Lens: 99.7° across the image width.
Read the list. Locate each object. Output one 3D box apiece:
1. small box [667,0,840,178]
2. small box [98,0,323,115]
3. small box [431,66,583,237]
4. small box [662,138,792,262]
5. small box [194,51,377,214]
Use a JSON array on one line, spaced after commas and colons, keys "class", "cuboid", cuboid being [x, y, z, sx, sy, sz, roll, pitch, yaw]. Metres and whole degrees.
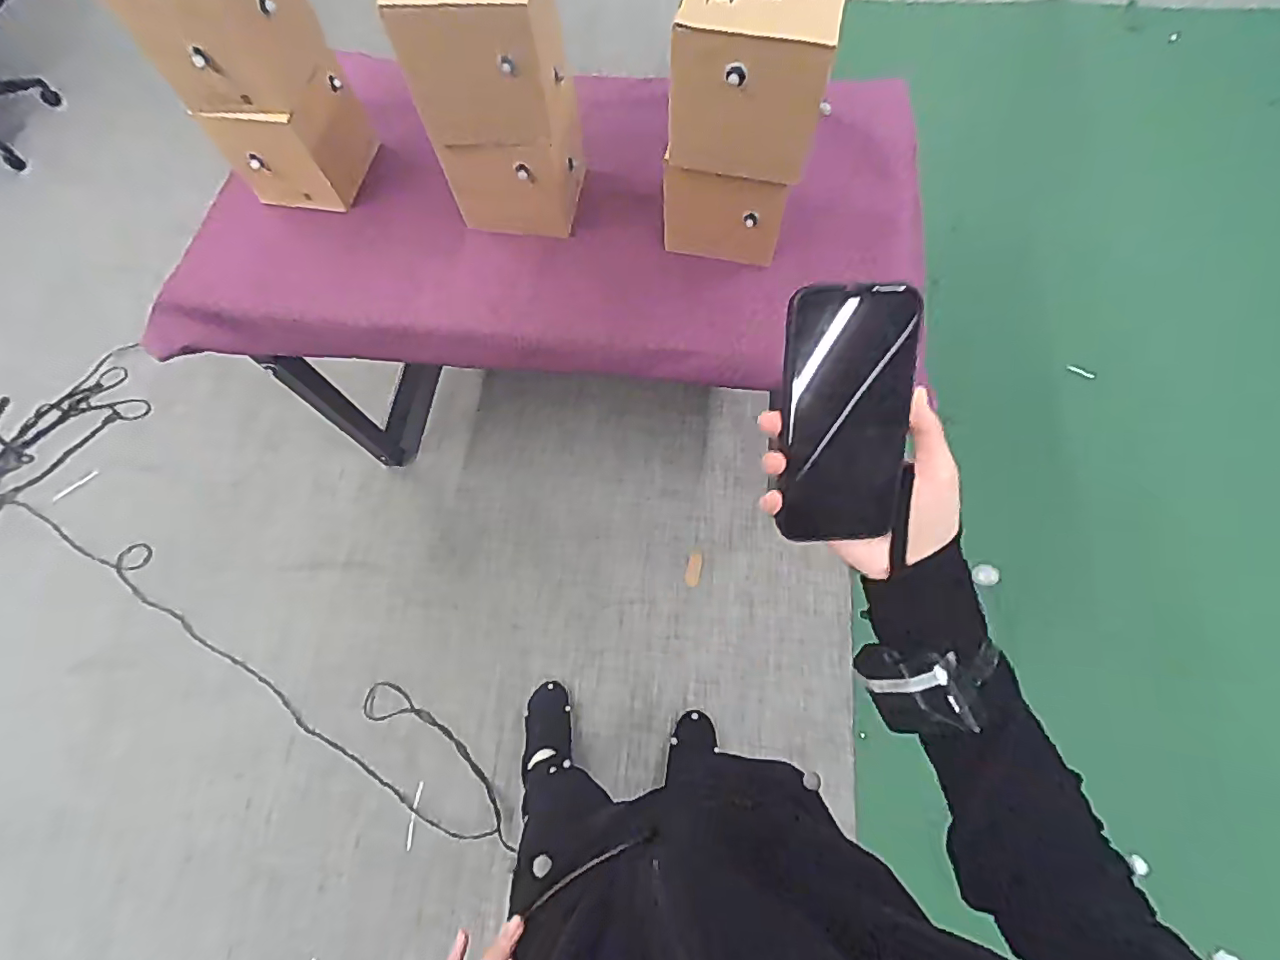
[{"class": "small box", "cuboid": [0.136, -0.506, 0.665, 0.179, 0.176, 0.168, 13, 69, 8]}, {"class": "small box", "cuboid": [-0.586, -0.649, 0.762, 0.168, 0.176, 0.179, 3, 69, 4]}, {"class": "small box", "cuboid": [-0.196, -0.514, 0.862, 0.179, 0.176, 0.168, 7, 69, 6]}, {"class": "small box", "cuboid": [0.138, -0.460, 0.823, 0.179, 0.176, 0.168, 13, 69, 9]}, {"class": "small box", "cuboid": [-0.578, -0.580, 0.911, 0.168, 0.176, 0.179, 8, 69, 6]}]
